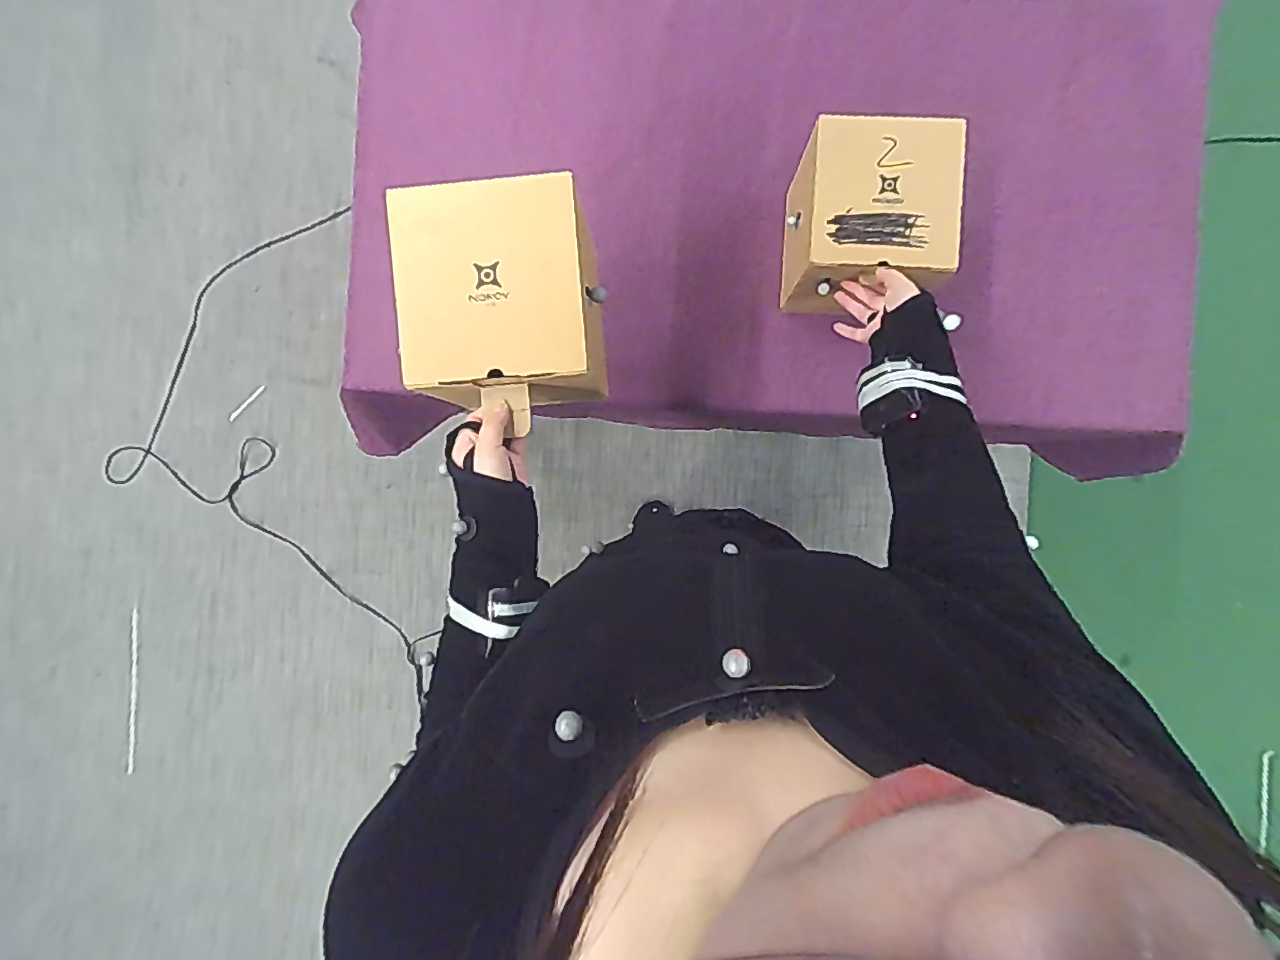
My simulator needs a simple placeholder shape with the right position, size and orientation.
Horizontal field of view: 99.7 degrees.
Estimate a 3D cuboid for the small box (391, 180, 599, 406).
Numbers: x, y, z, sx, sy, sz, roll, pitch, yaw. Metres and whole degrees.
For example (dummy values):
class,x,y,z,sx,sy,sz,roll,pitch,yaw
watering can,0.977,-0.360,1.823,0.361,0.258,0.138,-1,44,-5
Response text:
class,x,y,z,sx,sy,sz,roll,pitch,yaw
small box,-0.136,-0.179,0.566,0.168,0.176,0.179,-5,92,2
